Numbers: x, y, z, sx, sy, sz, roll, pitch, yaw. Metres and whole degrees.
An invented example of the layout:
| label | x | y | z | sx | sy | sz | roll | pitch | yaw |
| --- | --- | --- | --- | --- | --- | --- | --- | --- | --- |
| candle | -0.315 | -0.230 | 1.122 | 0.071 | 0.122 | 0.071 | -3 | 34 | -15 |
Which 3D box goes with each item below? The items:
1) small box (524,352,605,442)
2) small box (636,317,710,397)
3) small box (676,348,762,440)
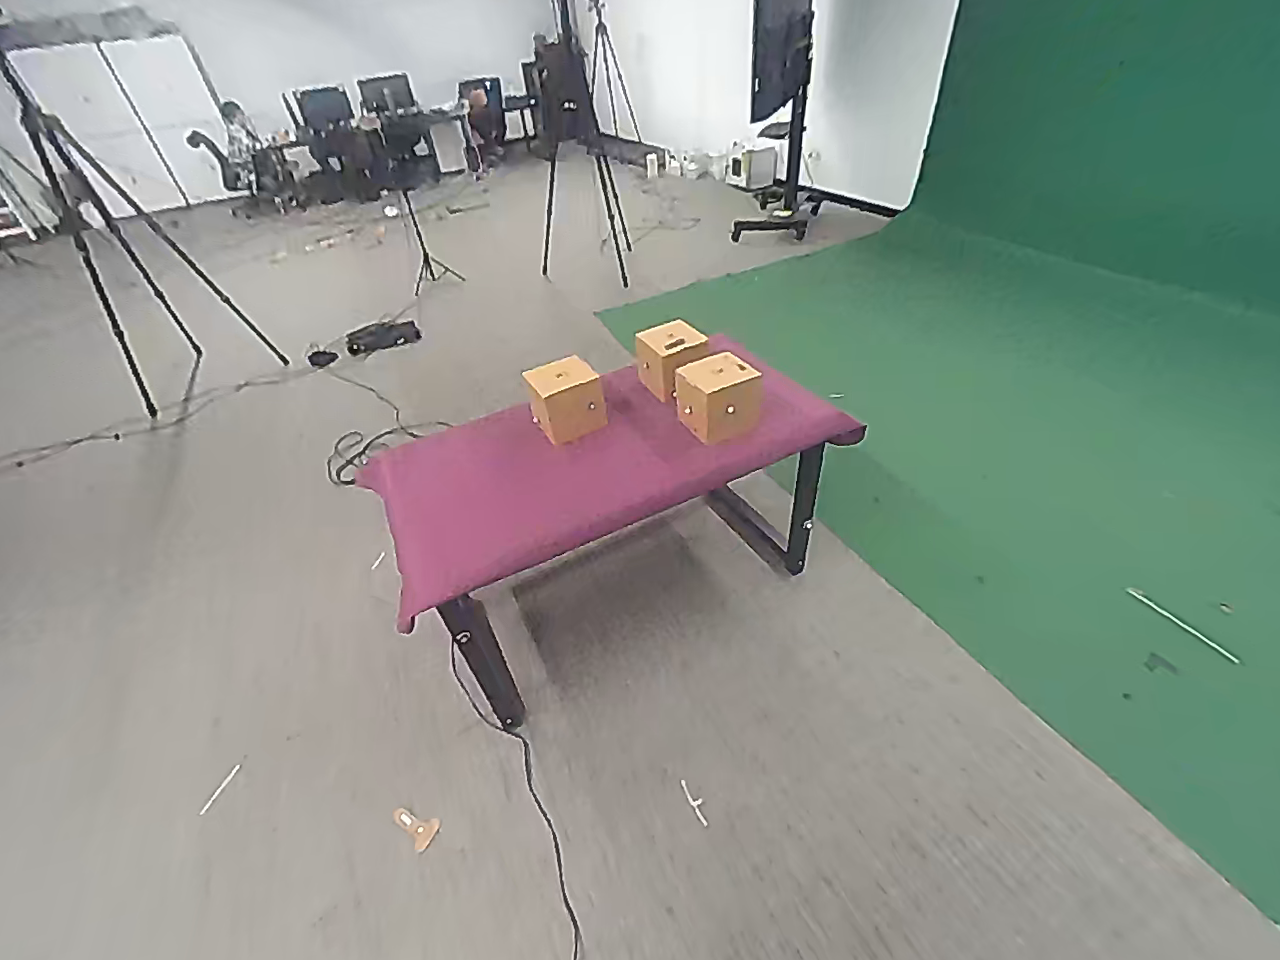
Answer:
| label | x | y | z | sx | sy | sz | roll | pitch | yaw |
| --- | --- | --- | --- | --- | --- | --- | --- | --- | --- |
| small box | -0.210 | -0.239 | 1.559 | 0.179 | 0.176 | 0.168 | -24 | 44 | -18 |
| small box | 0.106 | -0.374 | 1.665 | 0.168 | 0.176 | 0.179 | -23 | 43 | -17 |
| small box | 0.219 | -0.234 | 1.489 | 0.179 | 0.176 | 0.168 | -22 | 43 | -15 |
